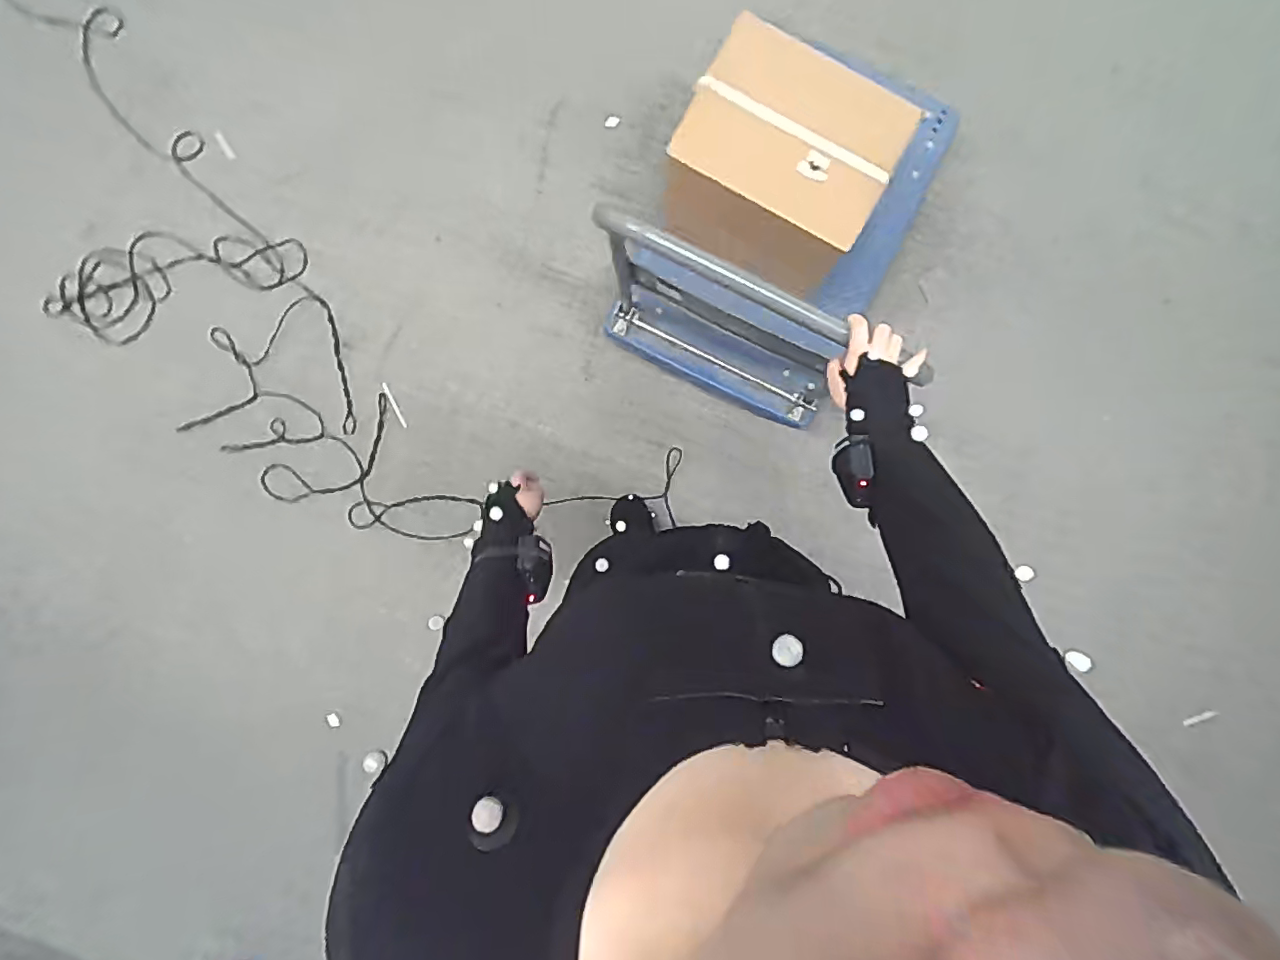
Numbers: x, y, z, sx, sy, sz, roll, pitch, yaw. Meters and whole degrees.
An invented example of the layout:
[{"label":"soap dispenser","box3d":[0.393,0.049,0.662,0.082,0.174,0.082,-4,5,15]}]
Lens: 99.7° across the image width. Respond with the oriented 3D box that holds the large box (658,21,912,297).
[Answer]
[{"label":"large box","box3d":[0.287,-0.677,1.204,0.408,0.320,0.320,28,91,0]}]
